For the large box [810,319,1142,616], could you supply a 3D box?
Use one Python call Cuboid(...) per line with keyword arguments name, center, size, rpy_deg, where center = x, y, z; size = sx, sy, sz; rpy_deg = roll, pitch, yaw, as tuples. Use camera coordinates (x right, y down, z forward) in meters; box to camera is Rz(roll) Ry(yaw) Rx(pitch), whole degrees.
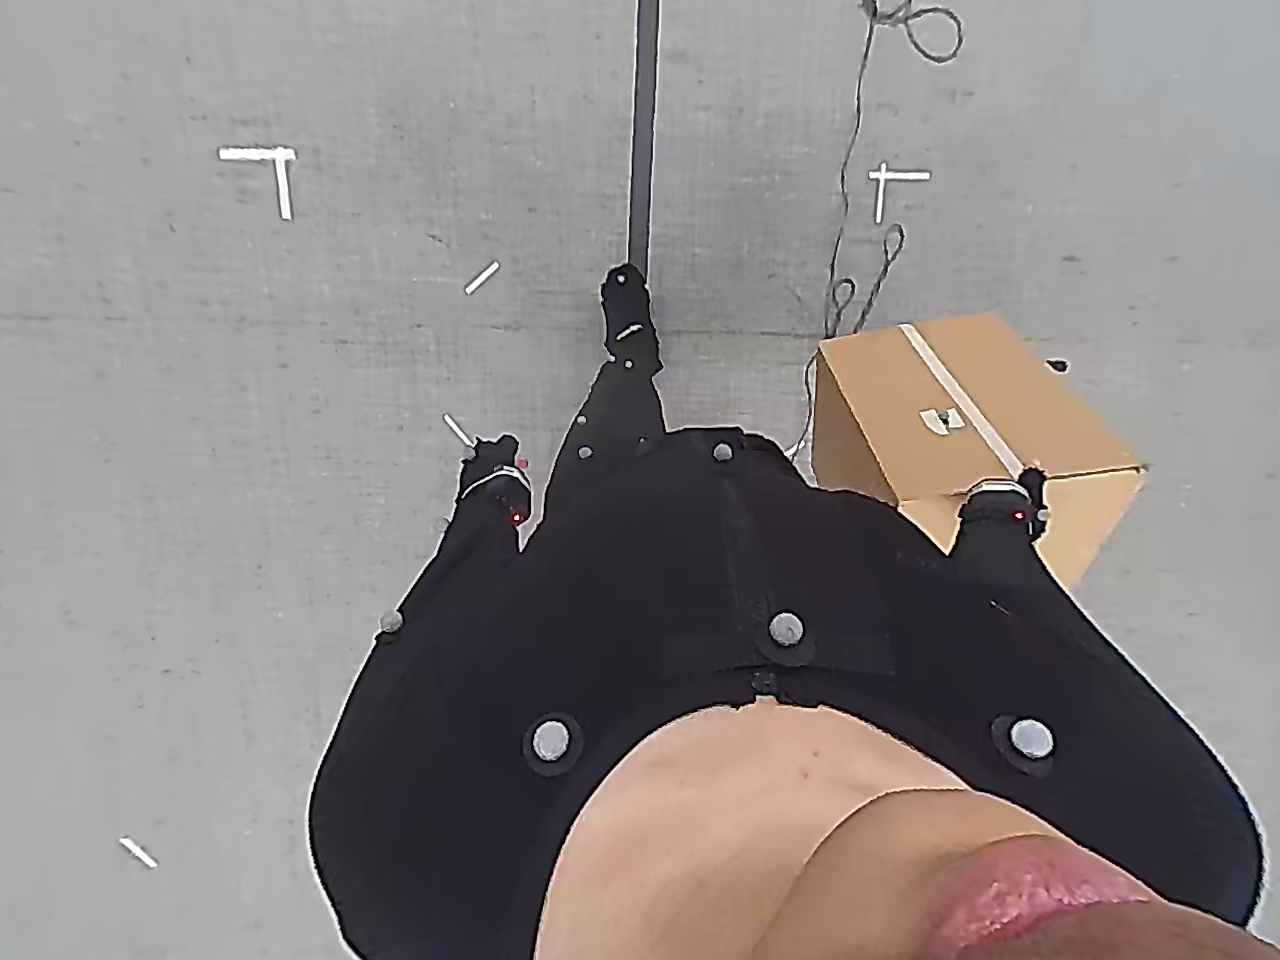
Cuboid(name="large box", center=(0.514, -0.027, 0.954), size=(0.320, 0.408, 0.320), rpy_deg=(-9, 135, 5))
